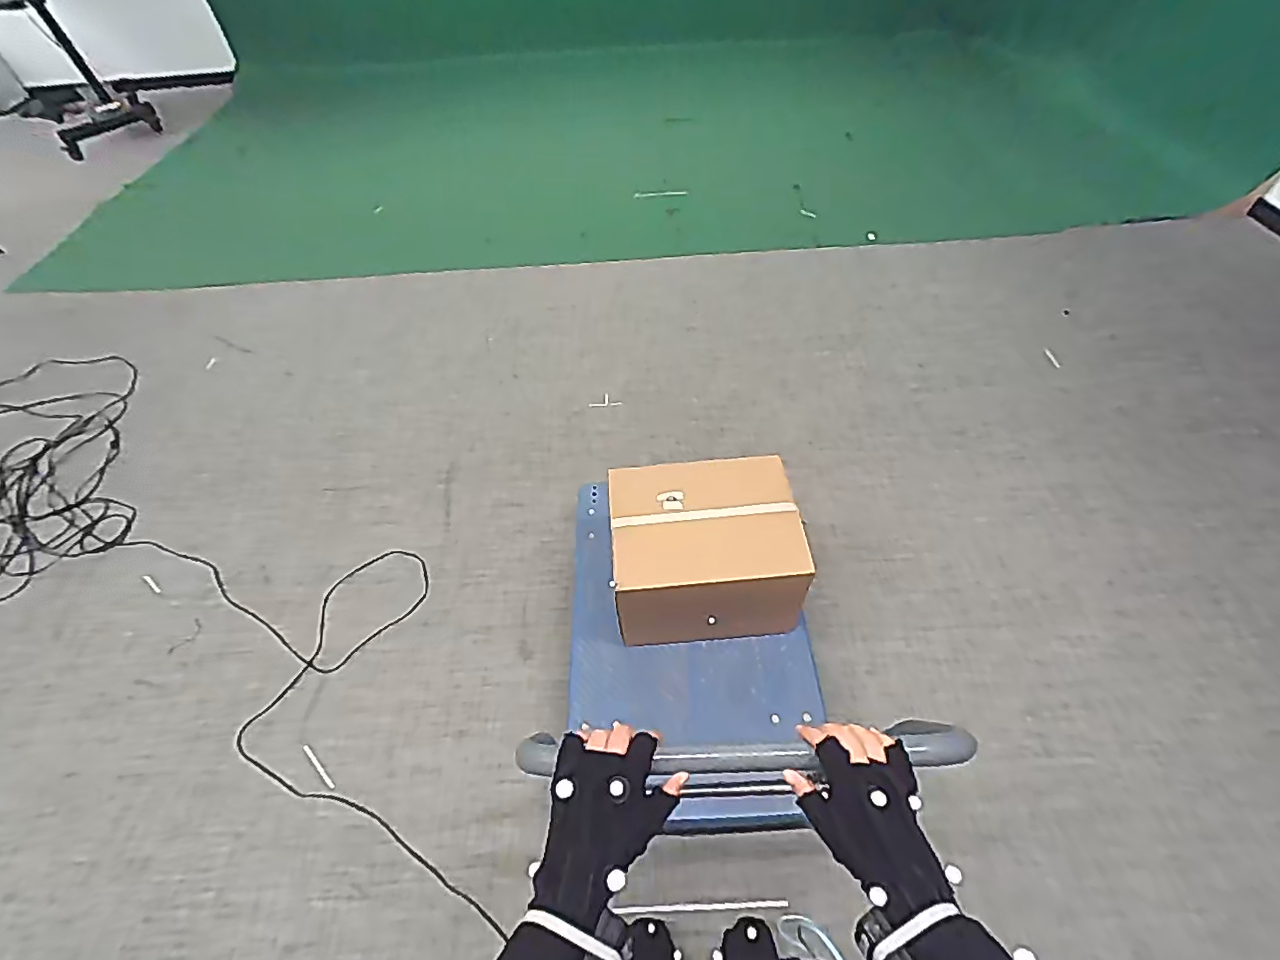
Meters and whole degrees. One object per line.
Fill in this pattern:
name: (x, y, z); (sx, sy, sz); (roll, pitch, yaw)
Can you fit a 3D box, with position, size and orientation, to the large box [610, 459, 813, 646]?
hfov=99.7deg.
large box: (0.149, 0.179, 1.290); (0.408, 0.320, 0.320); (-5, 51, -1)
